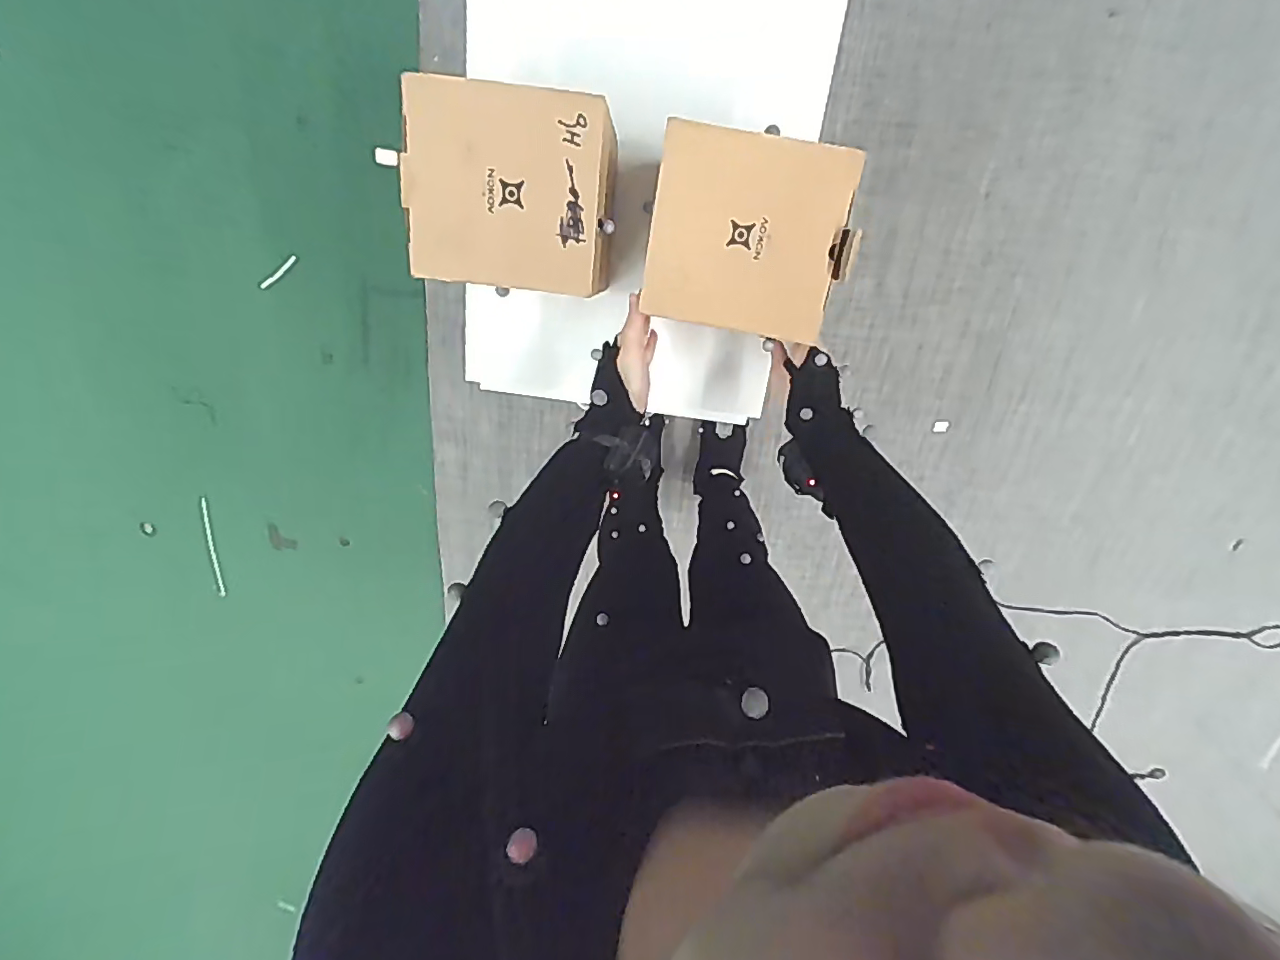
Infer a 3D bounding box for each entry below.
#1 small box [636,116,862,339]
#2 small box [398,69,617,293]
[{"bbox_3d":[0.098,-0.247,0.563,0.179,0.176,0.168,9,109,0],"label":"small box"},{"bbox_3d":[-0.123,-0.290,0.557,0.179,0.176,0.168,6,112,0],"label":"small box"}]
